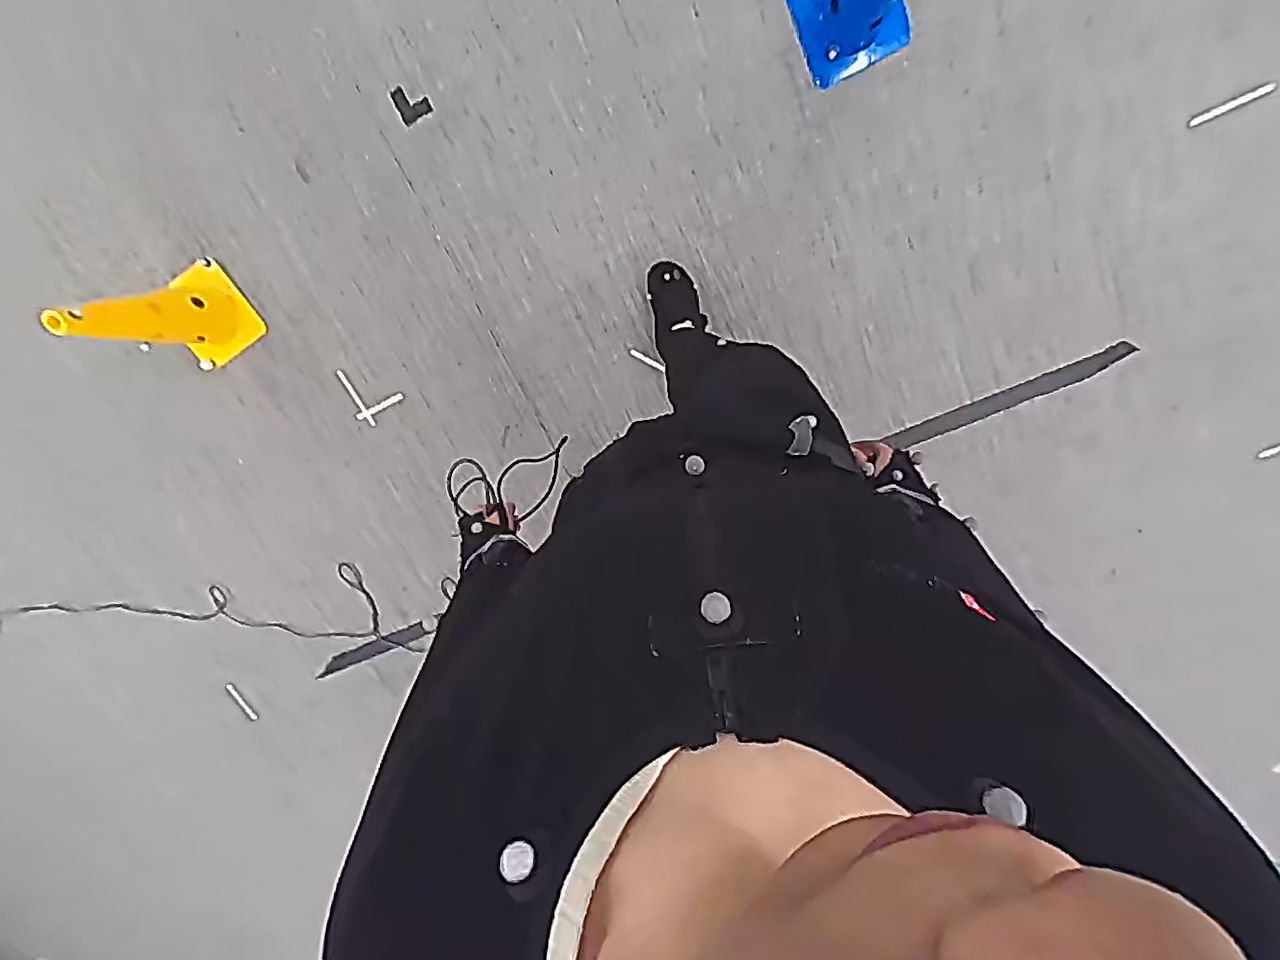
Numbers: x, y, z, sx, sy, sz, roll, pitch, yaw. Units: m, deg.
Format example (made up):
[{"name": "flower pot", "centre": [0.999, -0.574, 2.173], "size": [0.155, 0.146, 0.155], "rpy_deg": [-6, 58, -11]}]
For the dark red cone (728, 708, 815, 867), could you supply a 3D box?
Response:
[{"name": "dark red cone", "centre": [0.375, 0.810, 1.417], "size": [0.202, 0.394, 0.201], "rpy_deg": [-31, 103, 11]}]

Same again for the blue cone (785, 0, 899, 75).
[{"name": "blue cone", "centre": [0.388, -0.872, 0.899], "size": [0.193, 0.380, 0.192], "rpy_deg": [-23, 105, 9]}]
